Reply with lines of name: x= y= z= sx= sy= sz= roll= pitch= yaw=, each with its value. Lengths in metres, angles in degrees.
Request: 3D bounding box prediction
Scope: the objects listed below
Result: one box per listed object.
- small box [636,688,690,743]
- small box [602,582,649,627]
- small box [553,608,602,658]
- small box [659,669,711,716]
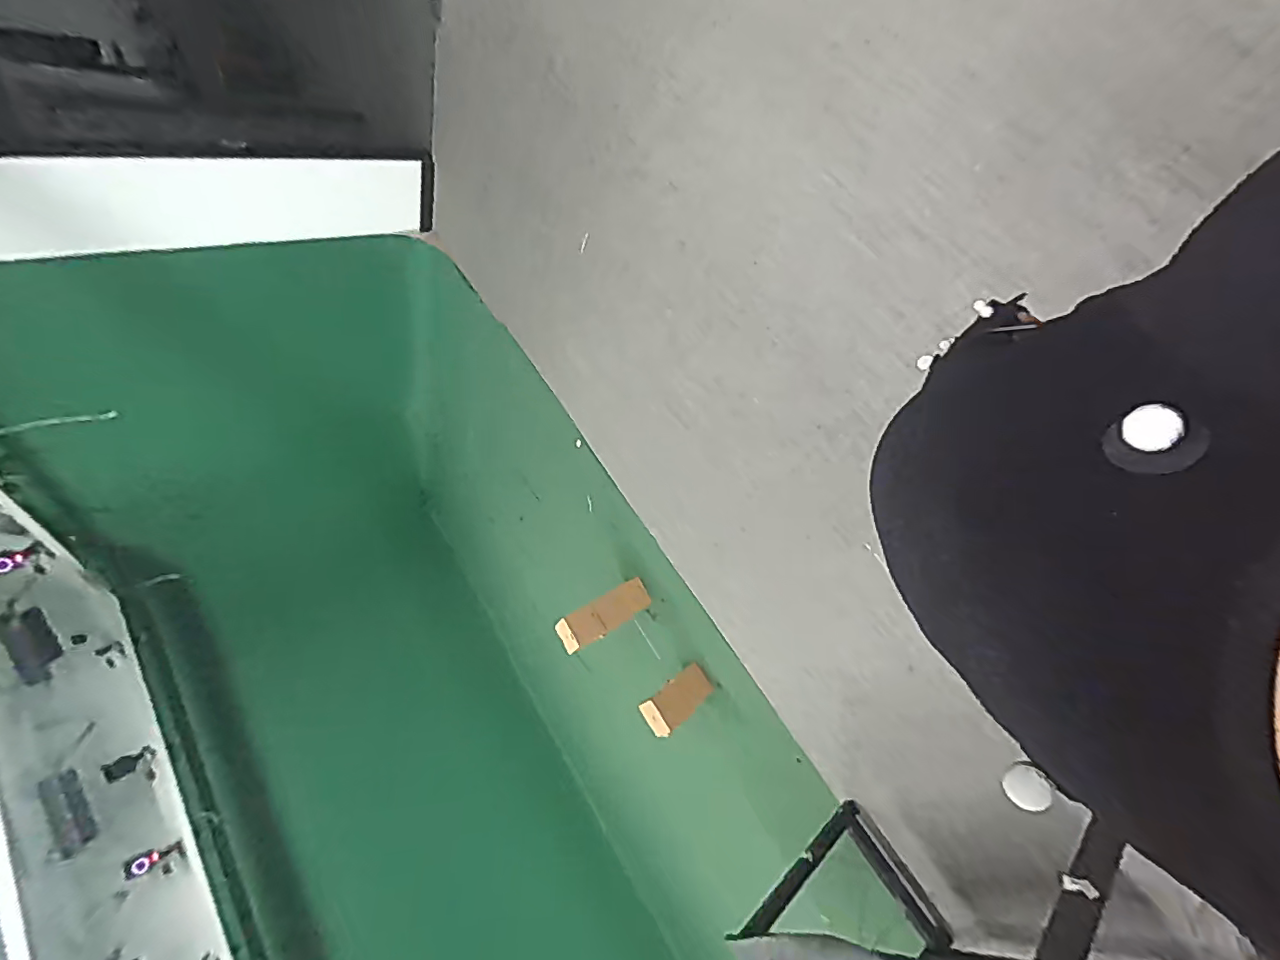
small box: x=0.118 y=1.161 z=2.671 sx=0.179 sy=0.176 sz=0.168 roll=56 pitch=142 yaw=17
small box: x=-0.076 y=0.677 z=2.948 sx=0.168 sy=0.176 sz=0.179 roll=59 pitch=144 yaw=12
small box: x=-0.317 y=0.779 z=2.748 sx=0.168 sy=0.176 sz=0.179 roll=58 pitch=144 yaw=15
small box: x=0.233 y=1.101 z=2.770 sx=0.179 sy=0.176 sz=0.168 roll=54 pitch=141 yaw=18
